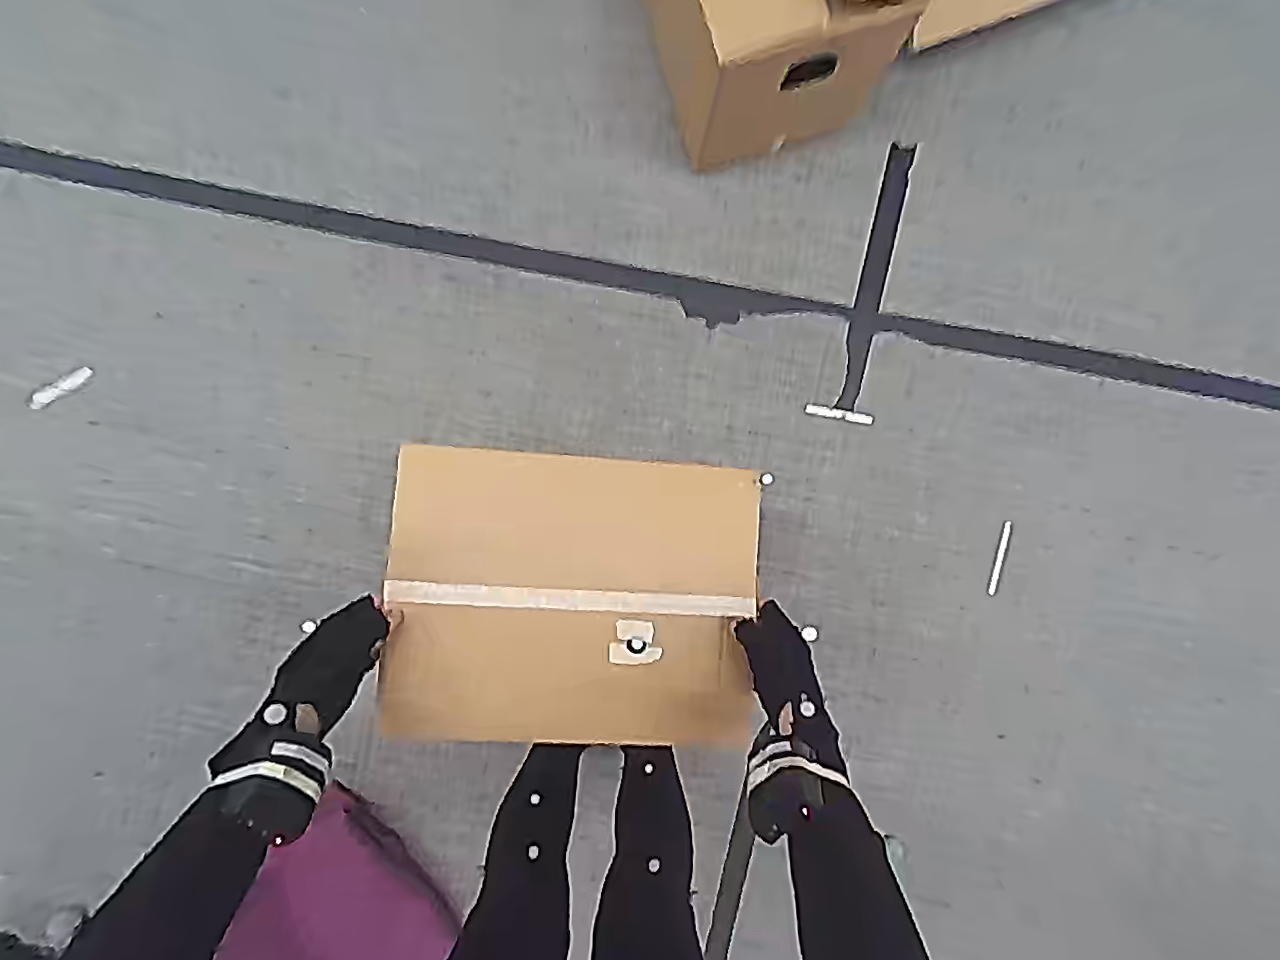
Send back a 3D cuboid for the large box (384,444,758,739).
[{"bbox_3d":[-0.084,0.135,0.740,0.408,0.320,0.320,4,86,-7],"label":"large box"}]
